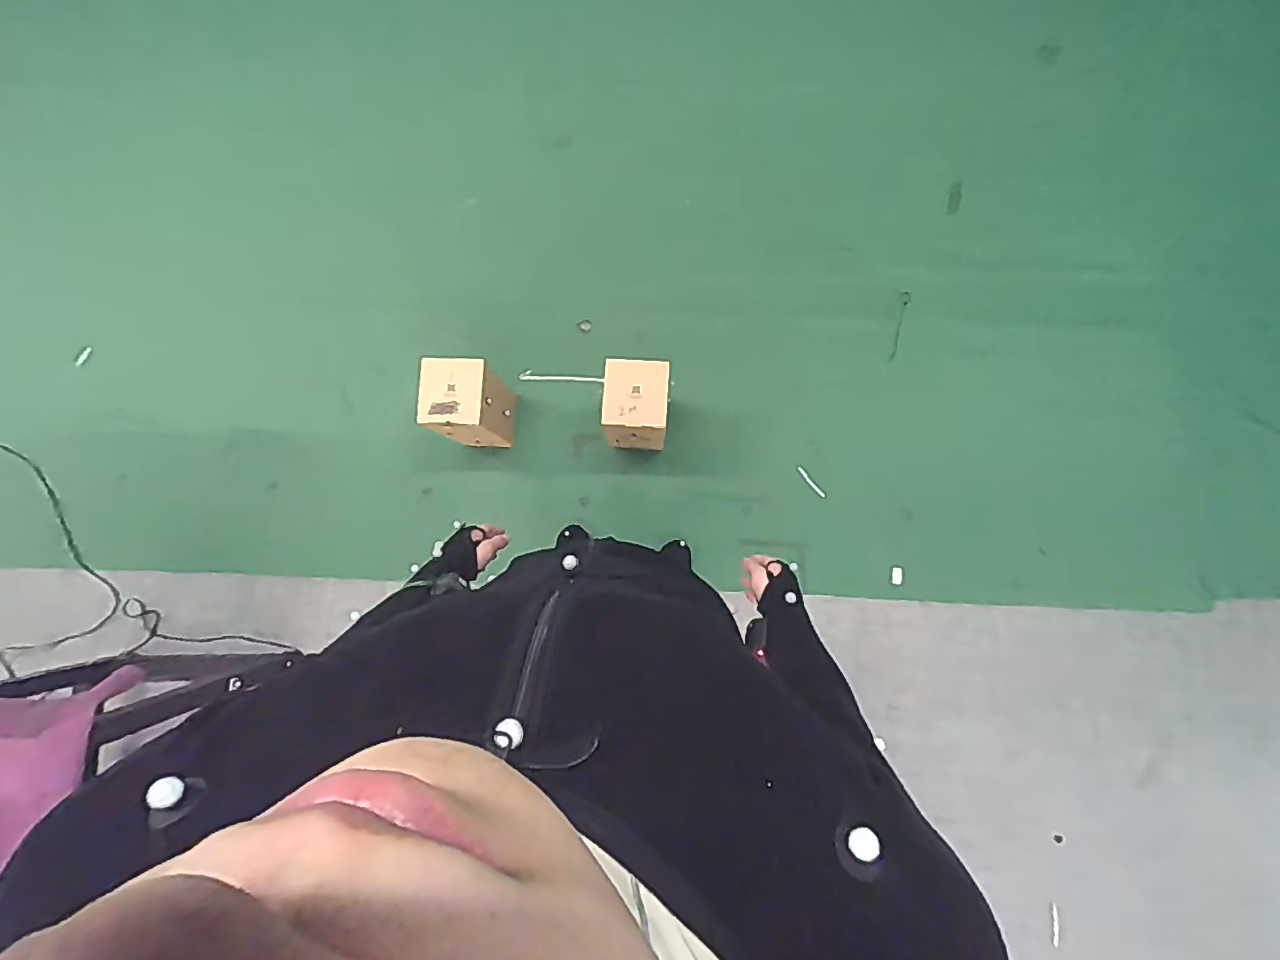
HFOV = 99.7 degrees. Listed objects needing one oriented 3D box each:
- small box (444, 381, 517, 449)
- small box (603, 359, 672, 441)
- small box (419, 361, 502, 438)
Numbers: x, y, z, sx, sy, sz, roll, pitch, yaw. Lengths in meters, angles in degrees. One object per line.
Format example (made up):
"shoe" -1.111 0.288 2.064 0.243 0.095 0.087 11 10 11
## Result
"small box" -0.473 -0.194 1.628 0.168 0.176 0.179 2 84 2
"small box" -0.005 -0.208 1.445 0.168 0.176 0.179 3 84 2
"small box" -0.479 -0.212 1.464 0.168 0.176 0.179 2 84 2
